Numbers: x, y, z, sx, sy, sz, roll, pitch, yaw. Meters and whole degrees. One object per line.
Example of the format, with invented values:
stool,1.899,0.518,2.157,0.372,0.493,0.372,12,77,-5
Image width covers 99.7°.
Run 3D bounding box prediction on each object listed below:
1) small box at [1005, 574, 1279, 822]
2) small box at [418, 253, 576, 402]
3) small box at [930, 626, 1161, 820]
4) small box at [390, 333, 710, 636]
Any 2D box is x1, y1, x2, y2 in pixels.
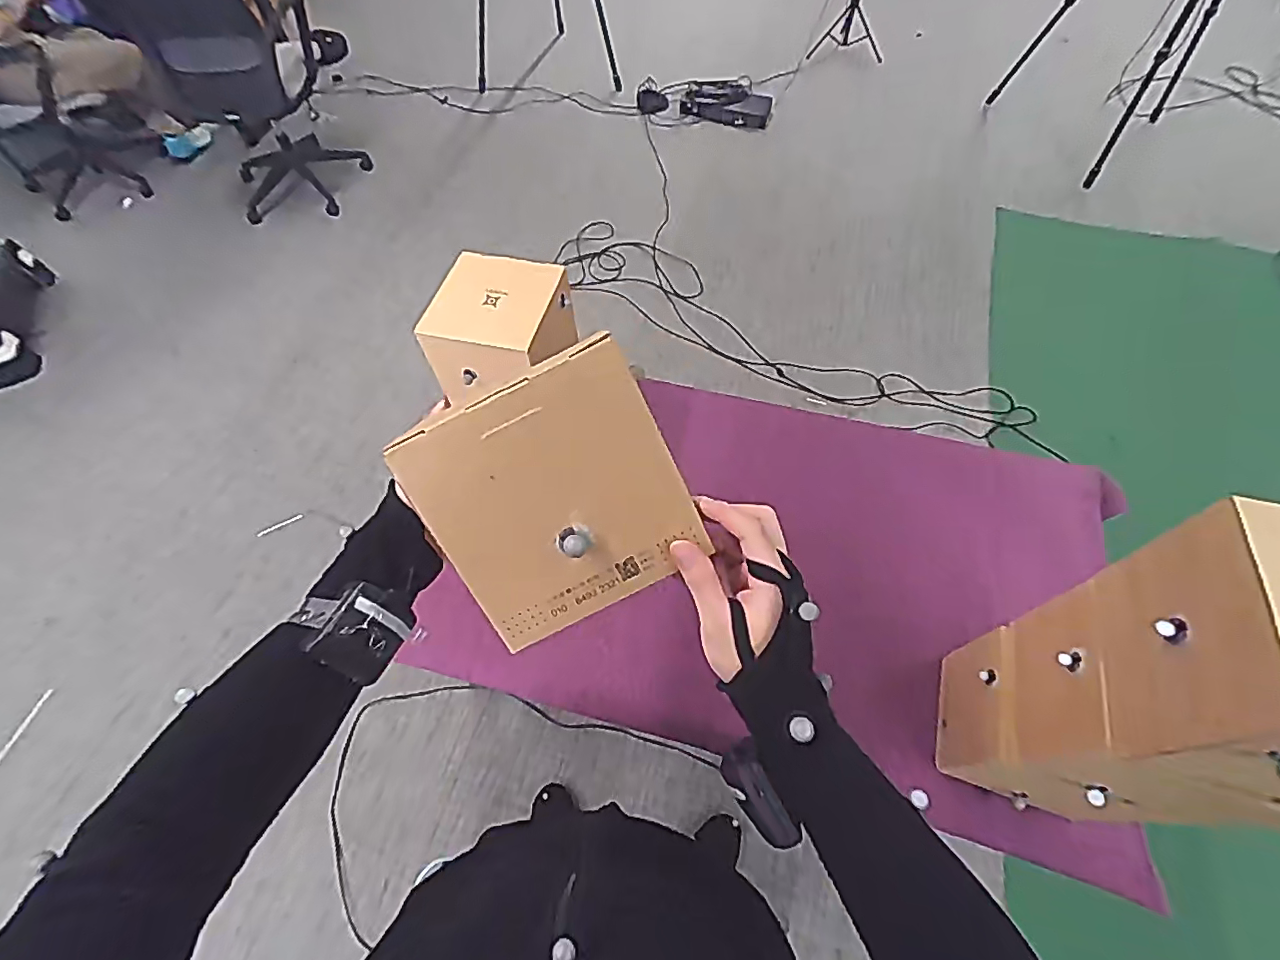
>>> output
small box,0.510,0.228,0.562,0.168,0.176,0.179,16,61,12
small box,-0.203,-0.215,0.834,0.168,0.176,0.179,11,60,7
small box,0.509,0.314,0.701,0.179,0.176,0.168,17,60,11
small box,-0.062,-0.007,0.445,0.168,0.179,0.176,-27,107,2
